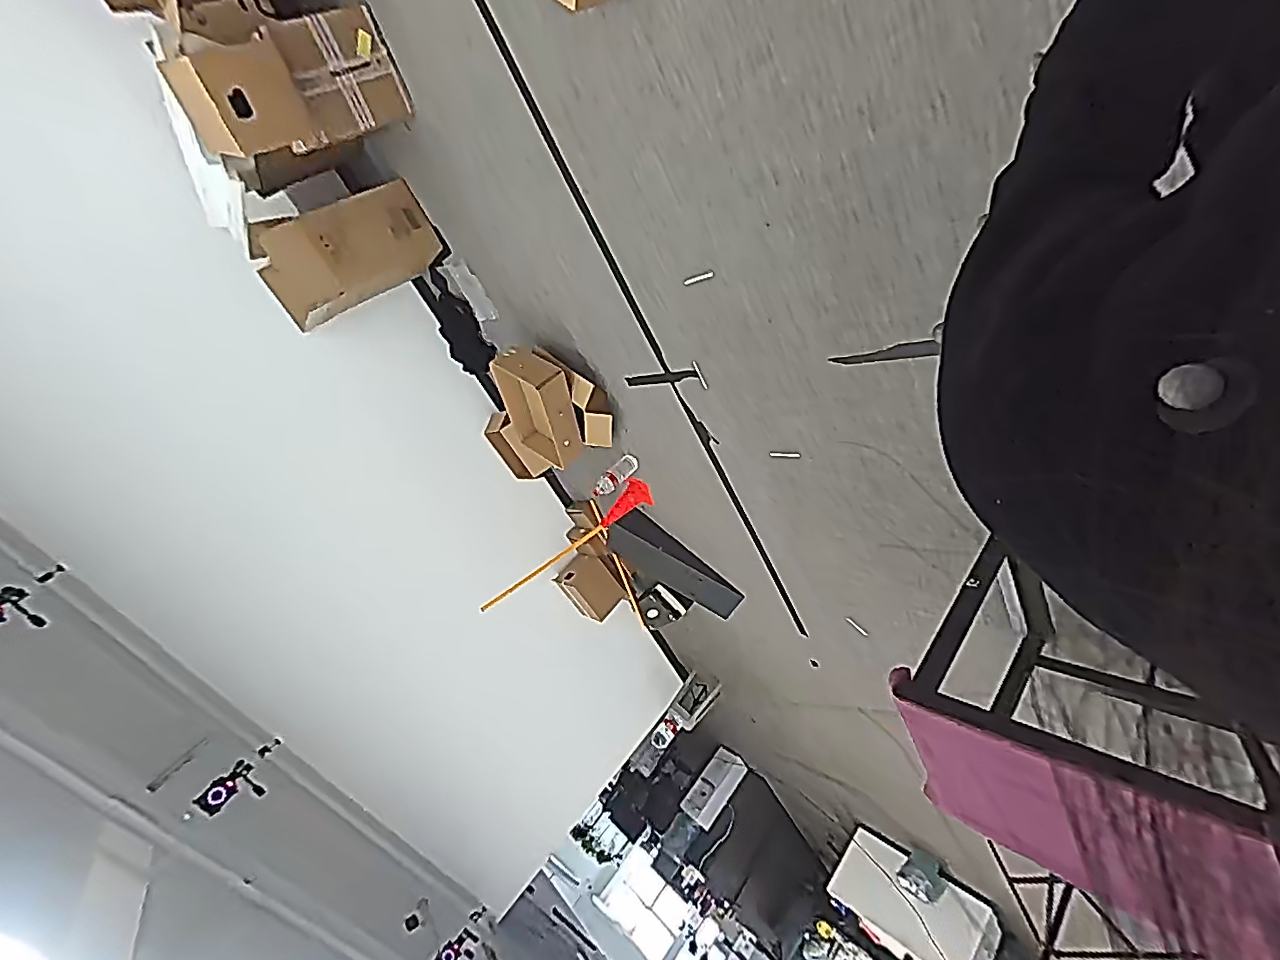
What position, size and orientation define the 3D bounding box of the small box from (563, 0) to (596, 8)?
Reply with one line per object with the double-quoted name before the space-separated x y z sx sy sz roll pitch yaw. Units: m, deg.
"small box" -0.166 -1.411 1.435 0.179 0.176 0.168 43 153 10
